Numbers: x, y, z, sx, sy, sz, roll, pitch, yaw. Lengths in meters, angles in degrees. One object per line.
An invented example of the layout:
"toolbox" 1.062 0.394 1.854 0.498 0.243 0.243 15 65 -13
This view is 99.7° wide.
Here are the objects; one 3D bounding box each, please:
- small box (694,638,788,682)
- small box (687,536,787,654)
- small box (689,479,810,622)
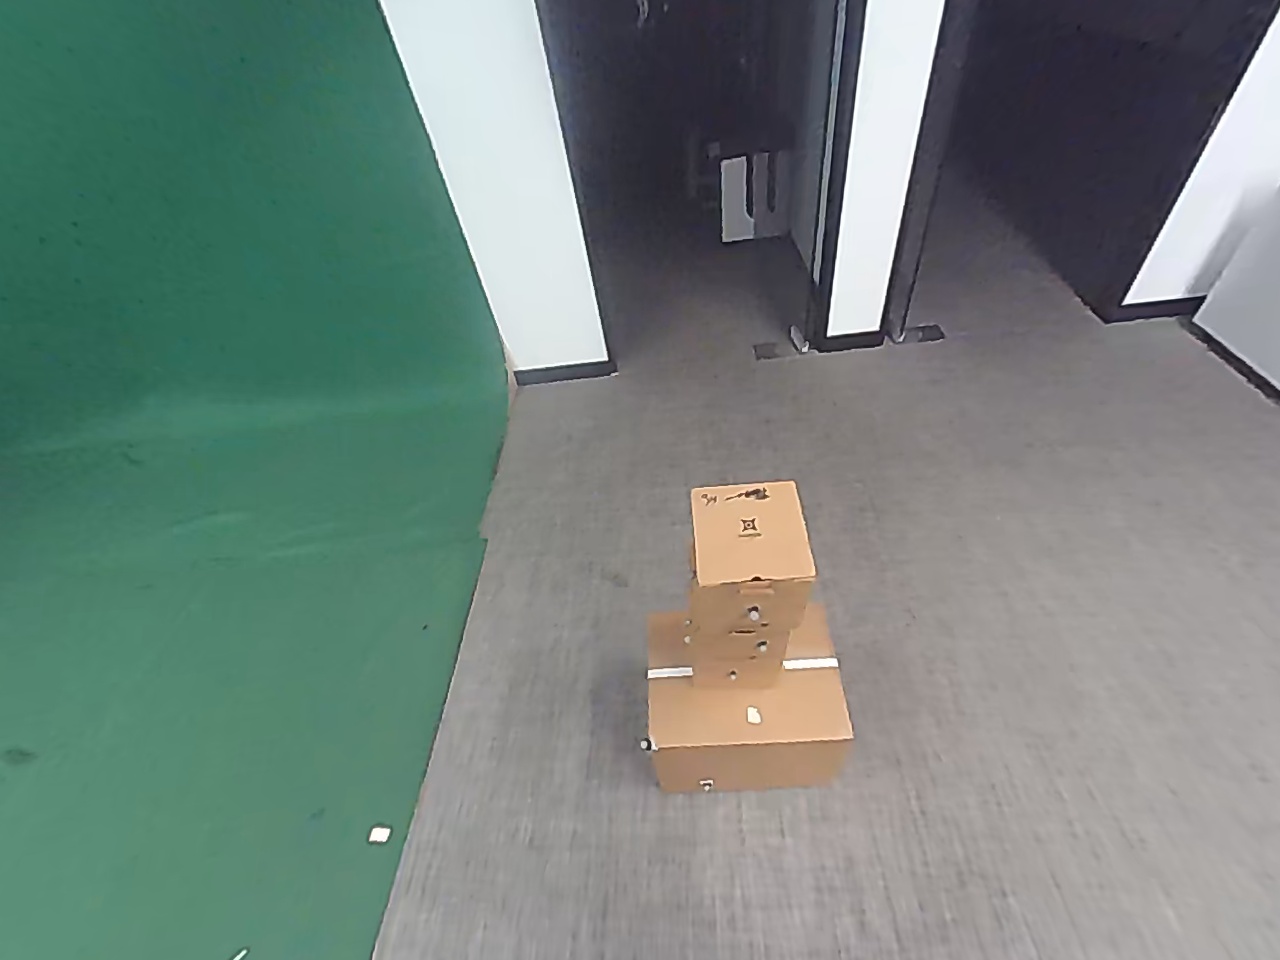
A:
"small box" 0.201 0.315 1.136 0.179 0.176 0.168 -6 52 5
"small box" 0.179 0.216 1.009 0.168 0.176 0.179 -4 51 5
"small box" 0.171 0.122 0.876 0.168 0.176 0.179 -4 52 6
